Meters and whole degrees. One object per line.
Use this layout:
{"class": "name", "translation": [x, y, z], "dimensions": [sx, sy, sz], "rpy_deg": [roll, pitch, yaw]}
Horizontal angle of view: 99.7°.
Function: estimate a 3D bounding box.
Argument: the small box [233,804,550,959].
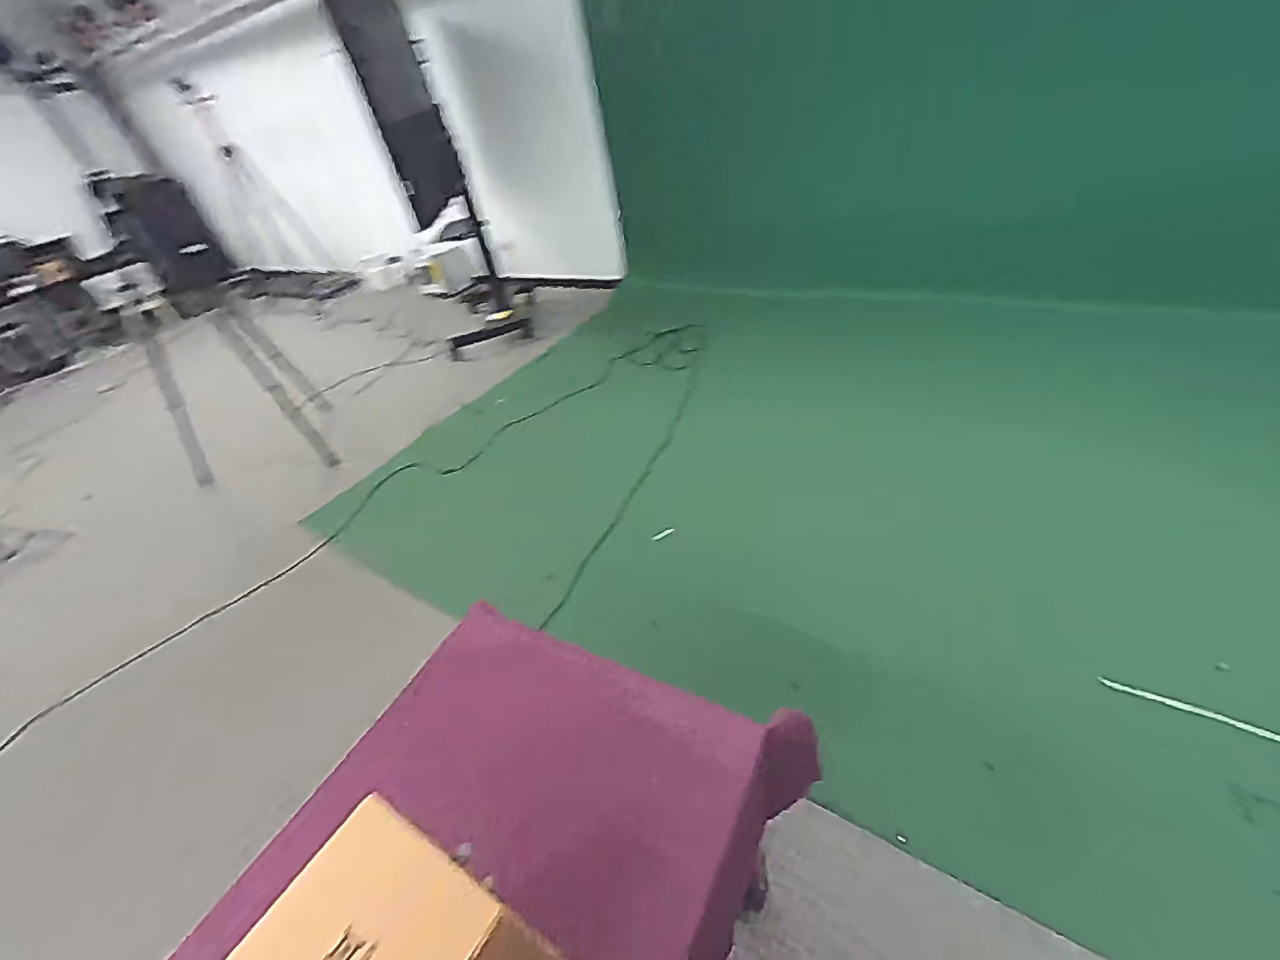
{"class": "small box", "translation": [-0.202, 0.420, 0.447], "dimensions": [0.179, 0.176, 0.168], "rpy_deg": [14, 46, 30]}
